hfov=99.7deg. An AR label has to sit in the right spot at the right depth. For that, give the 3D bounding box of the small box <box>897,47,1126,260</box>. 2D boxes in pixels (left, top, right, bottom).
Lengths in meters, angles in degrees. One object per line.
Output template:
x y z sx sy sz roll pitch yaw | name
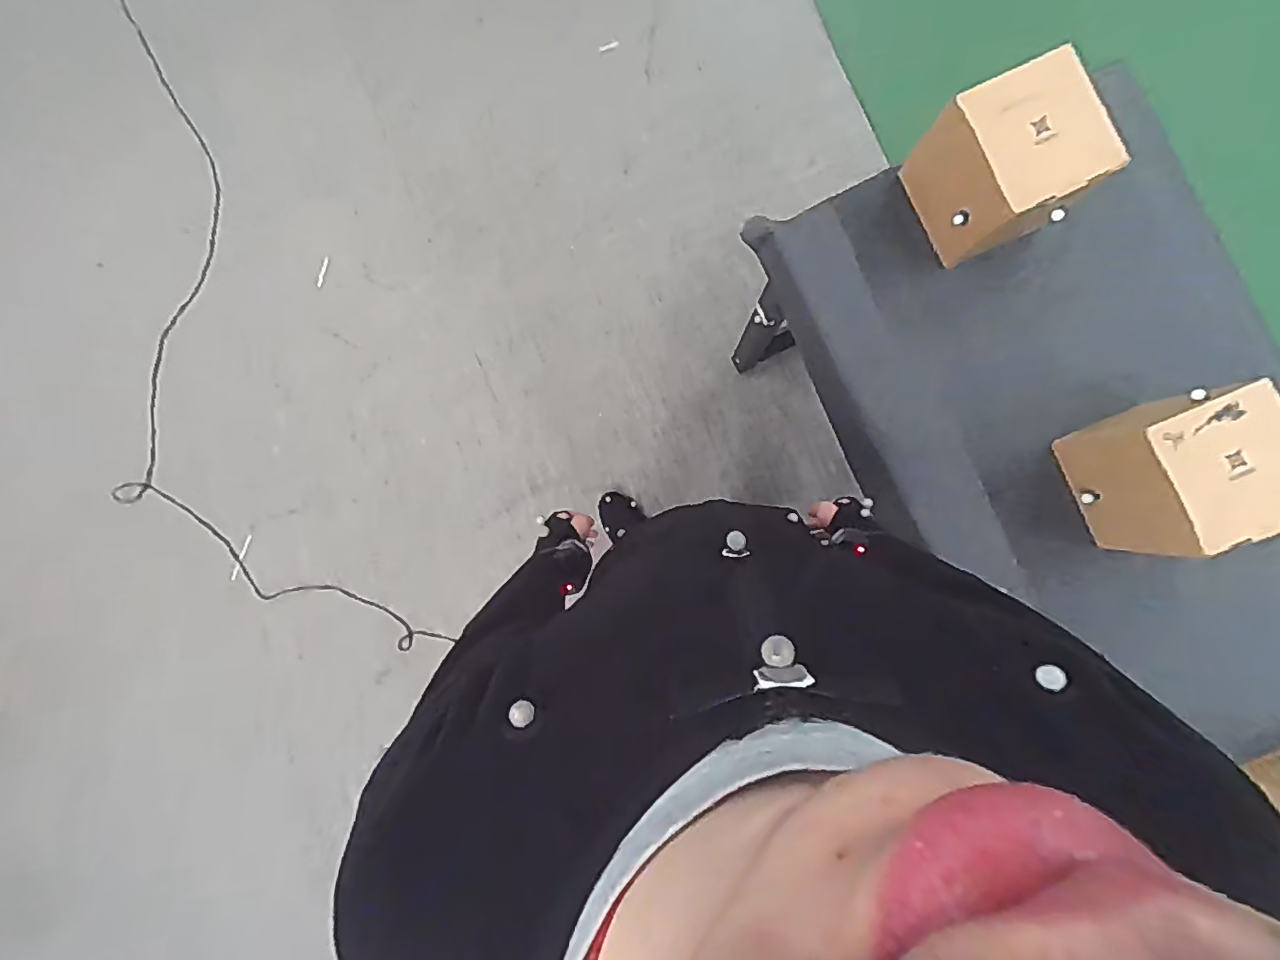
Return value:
0.509 -0.442 0.769 0.168 0.176 0.179 -26 86 -3 | small box

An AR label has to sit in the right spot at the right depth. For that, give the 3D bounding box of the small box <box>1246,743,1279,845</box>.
0.995 0.455 0.721 0.168 0.176 0.179 -23 88 -1 | small box

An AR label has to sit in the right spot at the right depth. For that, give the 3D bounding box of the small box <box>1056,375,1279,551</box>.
0.741 -0.020 0.748 0.168 0.176 0.179 -24 88 -1 | small box
